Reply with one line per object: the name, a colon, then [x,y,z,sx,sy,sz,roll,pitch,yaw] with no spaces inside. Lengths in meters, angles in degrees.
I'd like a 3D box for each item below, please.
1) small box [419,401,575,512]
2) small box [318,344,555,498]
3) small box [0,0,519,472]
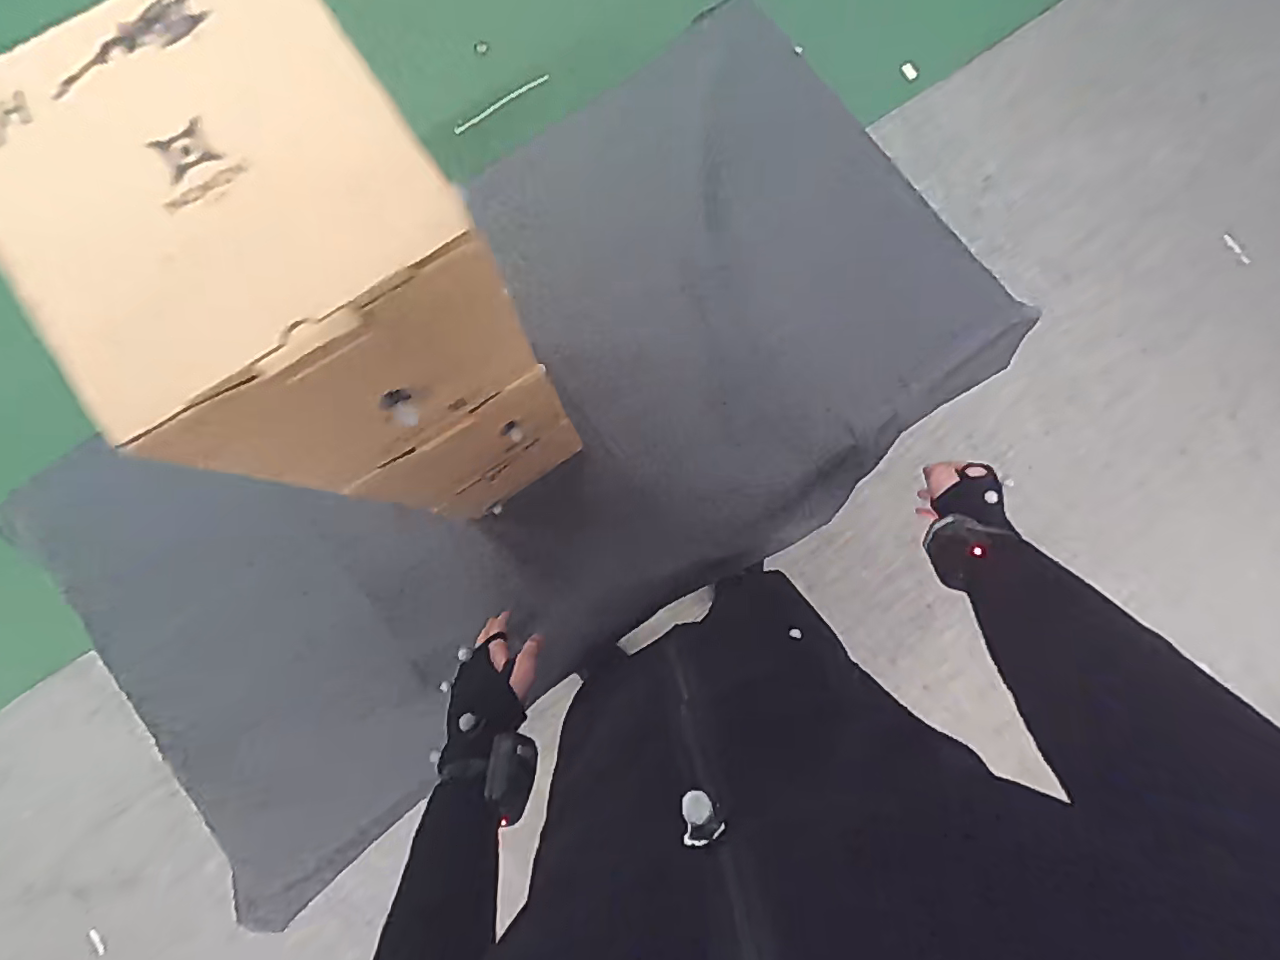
small box: [-0.191,-0.078,0.620,0.168,0.176,0.179,-35,85,-4]
small box: [-0.190,-0.096,0.459,0.168,0.176,0.179,-34,84,-5]
small box: [-0.187,-0.117,0.297,0.168,0.176,0.179,-34,87,-6]
